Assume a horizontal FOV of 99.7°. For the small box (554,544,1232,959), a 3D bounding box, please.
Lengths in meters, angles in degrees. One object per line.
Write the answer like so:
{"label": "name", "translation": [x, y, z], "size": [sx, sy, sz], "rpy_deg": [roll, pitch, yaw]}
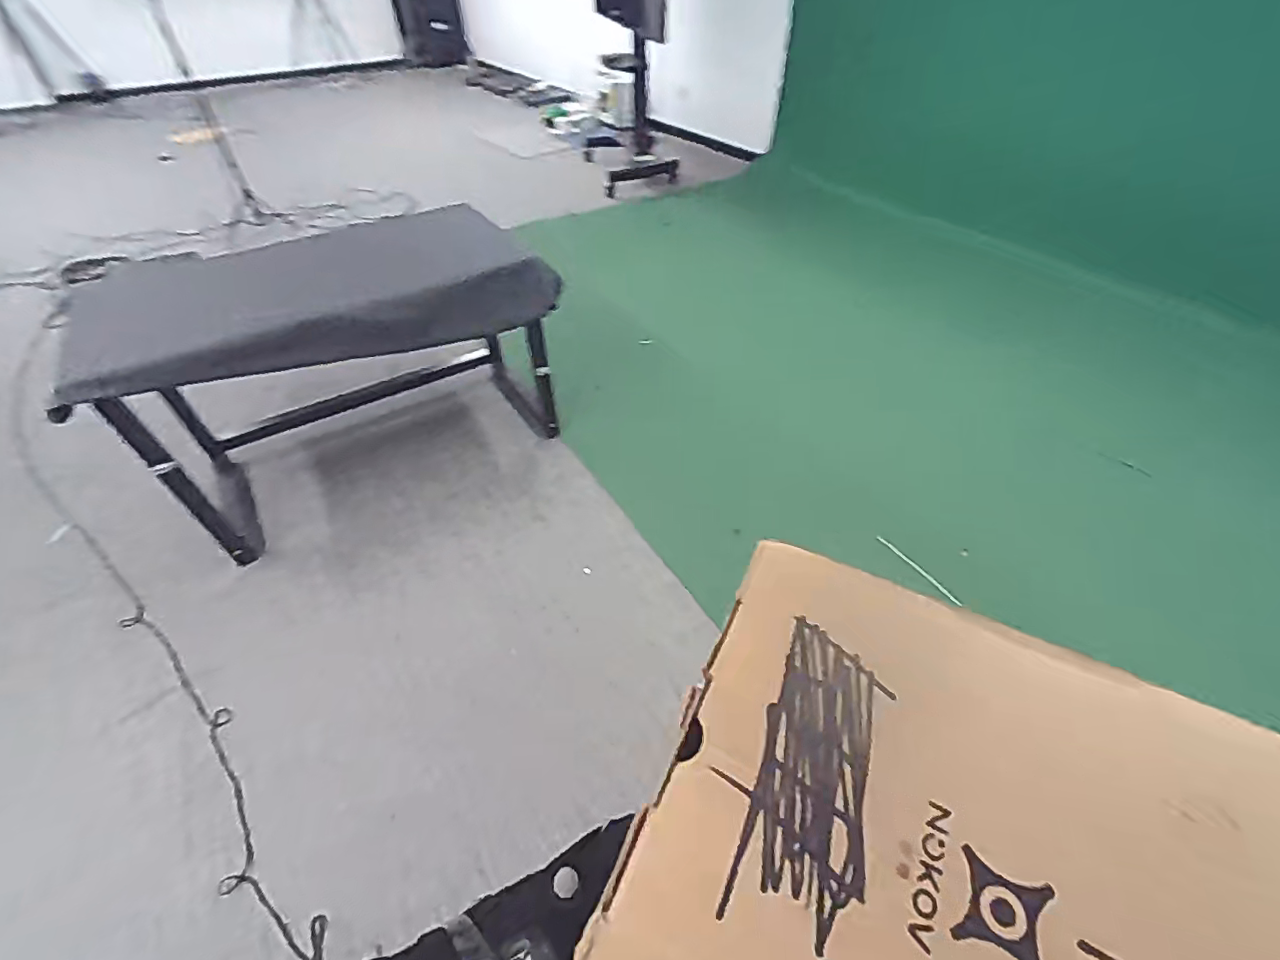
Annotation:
{"label": "small box", "translation": [0.090, 0.161, 0.238], "size": [0.179, 0.176, 0.168], "rpy_deg": [20, 58, 17]}
